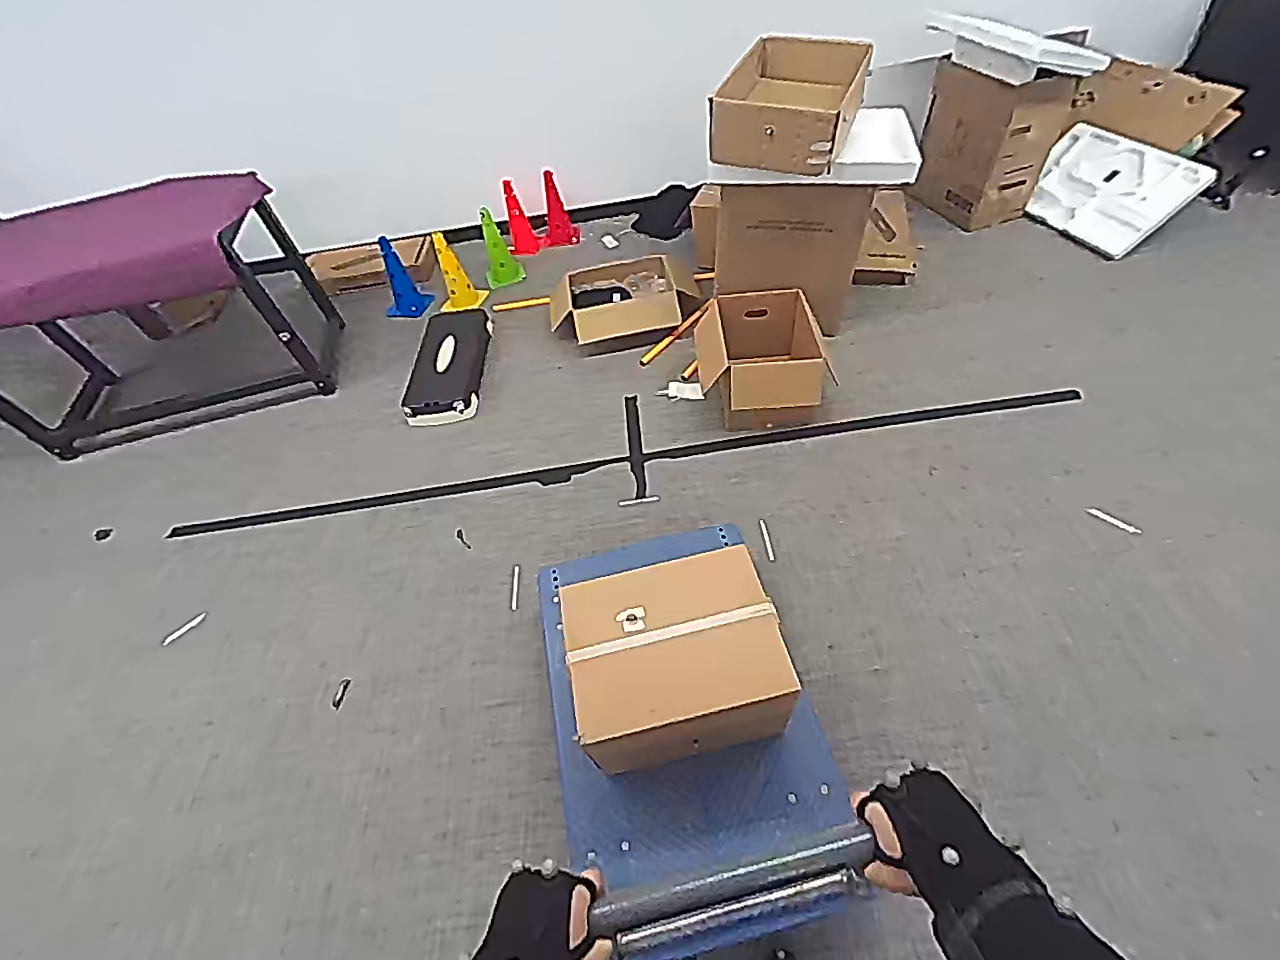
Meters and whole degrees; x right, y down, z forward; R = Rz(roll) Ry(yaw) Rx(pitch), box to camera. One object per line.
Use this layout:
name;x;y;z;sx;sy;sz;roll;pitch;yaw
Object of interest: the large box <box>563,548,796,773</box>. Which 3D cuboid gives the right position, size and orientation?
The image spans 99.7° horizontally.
large box;0.079;0.399;1.177;0.408;0.320;0.320;-14;51;-2
